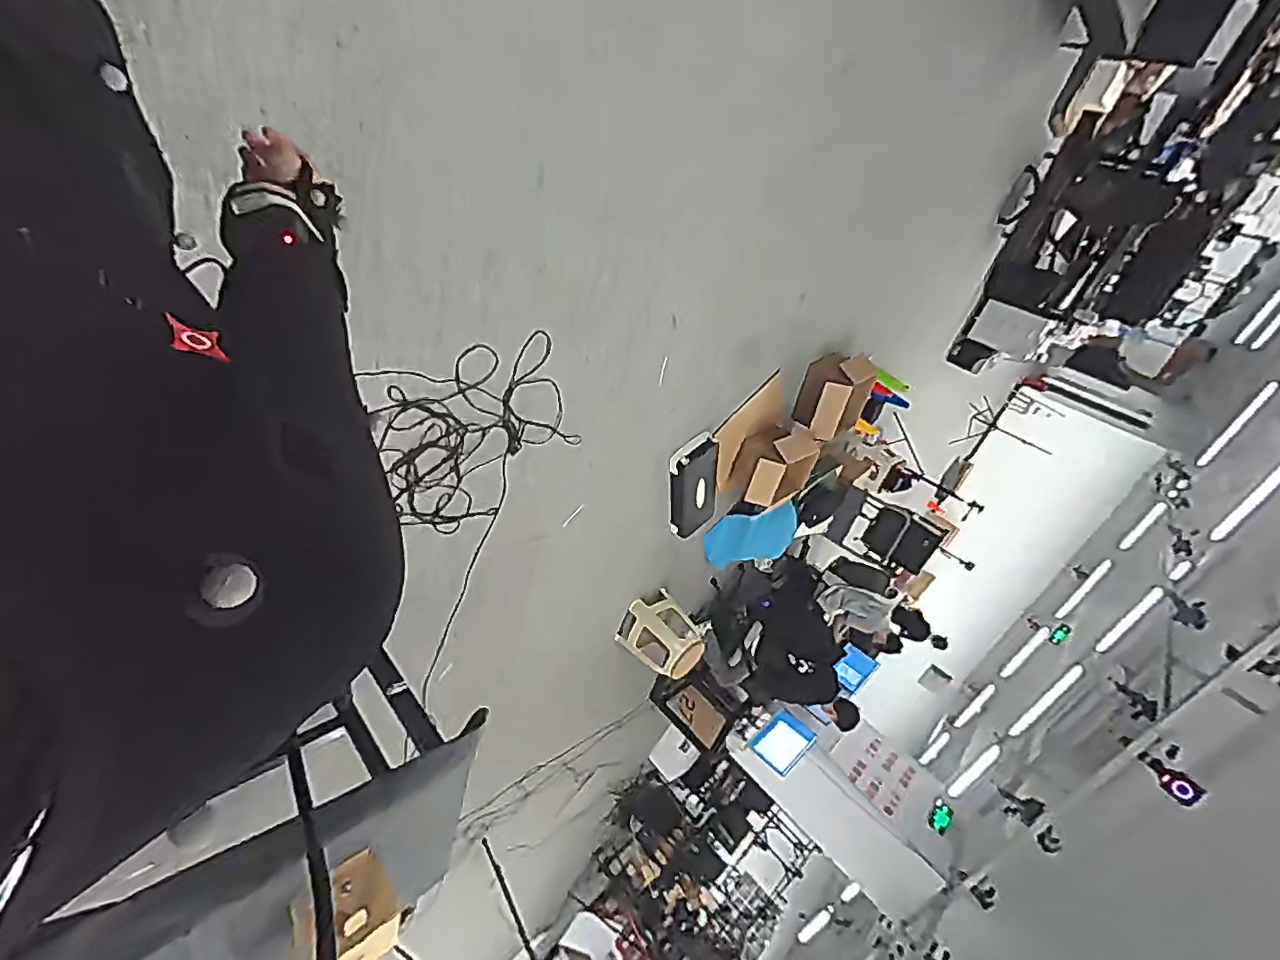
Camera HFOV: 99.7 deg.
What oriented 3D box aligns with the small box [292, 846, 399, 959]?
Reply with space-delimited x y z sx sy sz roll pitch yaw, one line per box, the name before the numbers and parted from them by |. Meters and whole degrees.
small box | -0.666 0.981 1.223 0.168 0.176 0.179 -17 135 -44
